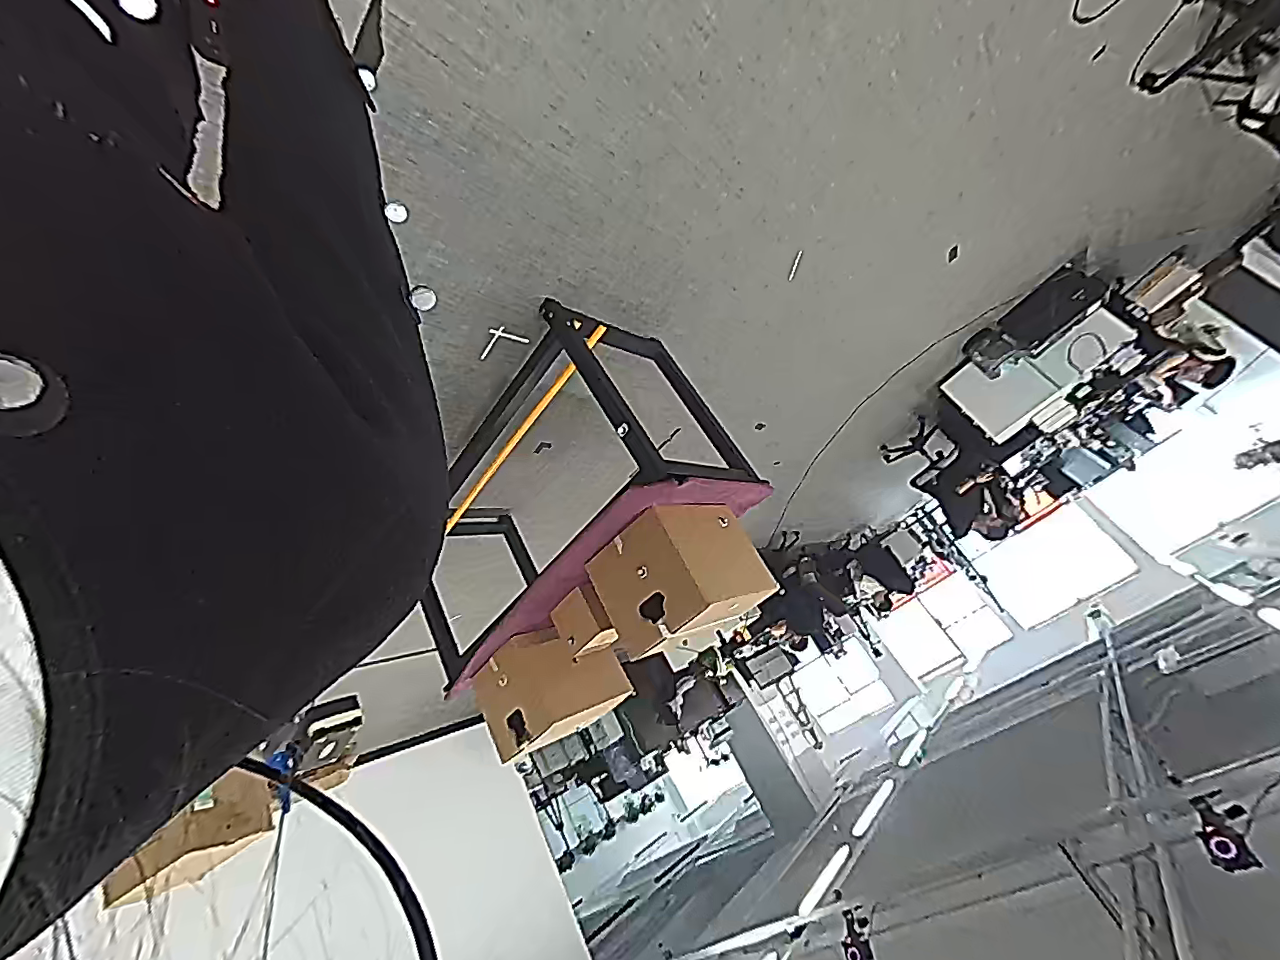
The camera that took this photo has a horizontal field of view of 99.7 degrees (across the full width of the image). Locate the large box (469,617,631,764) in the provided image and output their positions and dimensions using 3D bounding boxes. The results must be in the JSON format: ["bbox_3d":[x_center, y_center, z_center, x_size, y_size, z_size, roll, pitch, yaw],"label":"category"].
[{"bbox_3d":[-0.319,0.723,1.911,0.320,0.320,0.408,-45,153,28],"label":"large box"}]
